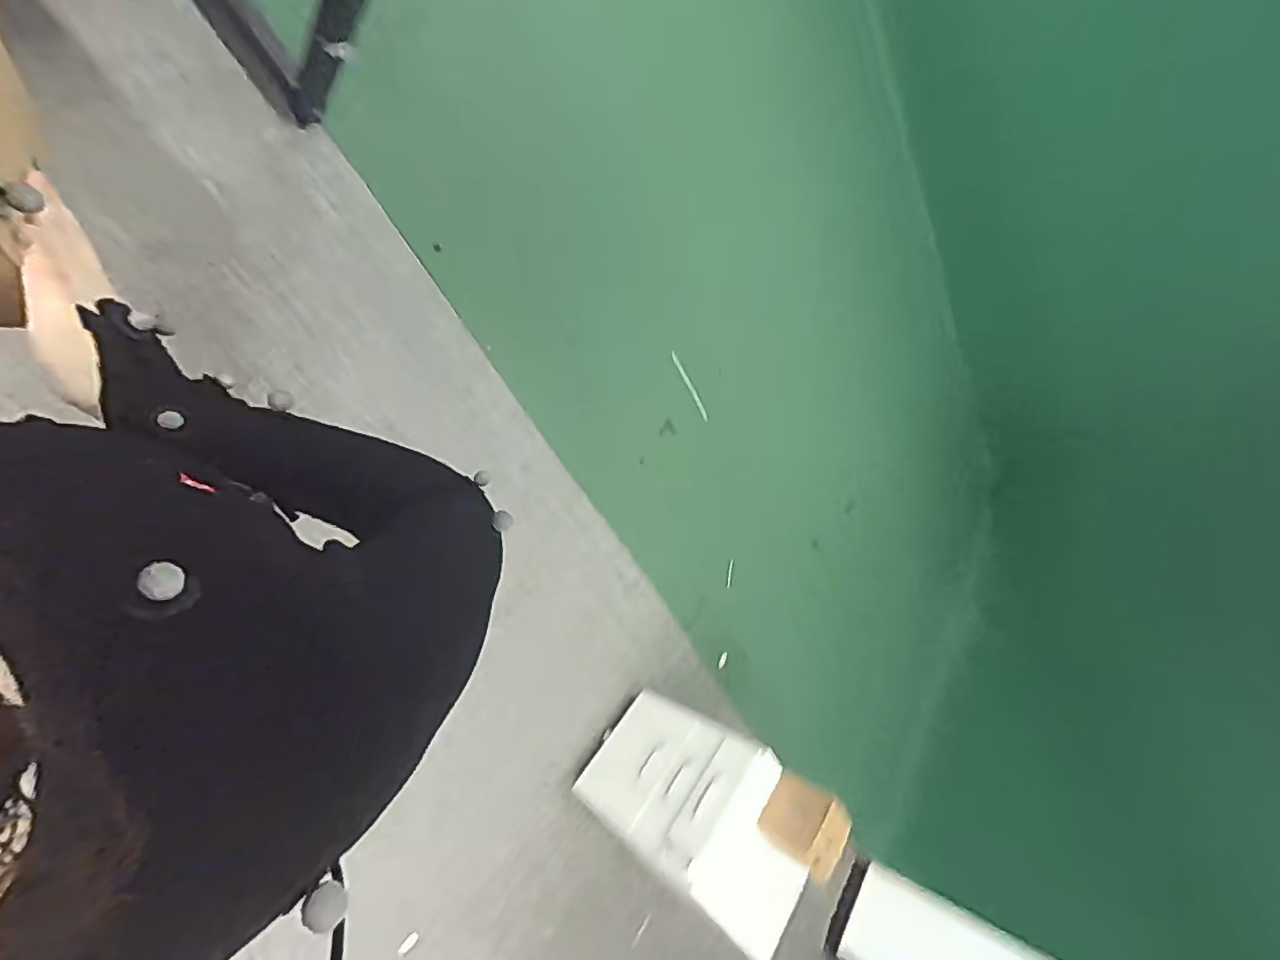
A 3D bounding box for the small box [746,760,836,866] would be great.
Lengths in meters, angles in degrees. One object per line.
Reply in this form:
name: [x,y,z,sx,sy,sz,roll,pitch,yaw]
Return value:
small box: [0.437,0.957,1.570,0.179,0.176,0.168,-48,120,-28]
